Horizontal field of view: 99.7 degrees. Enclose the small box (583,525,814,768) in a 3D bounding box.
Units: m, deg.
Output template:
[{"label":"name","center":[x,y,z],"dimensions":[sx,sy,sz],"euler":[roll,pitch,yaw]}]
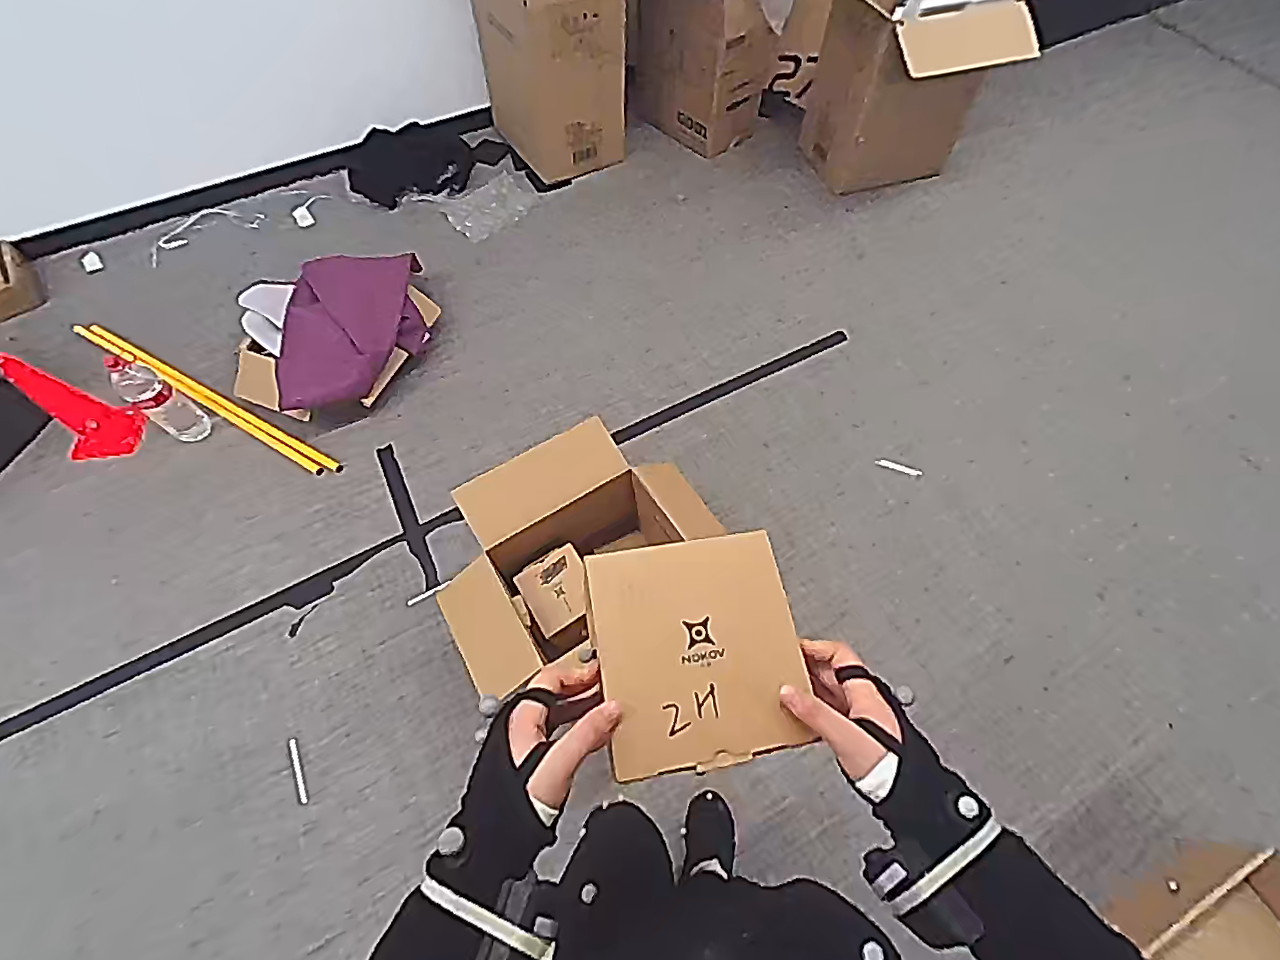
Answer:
[{"label":"small box","center":[0.035,0.161,0.514],"dimensions":[0.168,0.176,0.179],"euler":[-8,66,-8]}]
